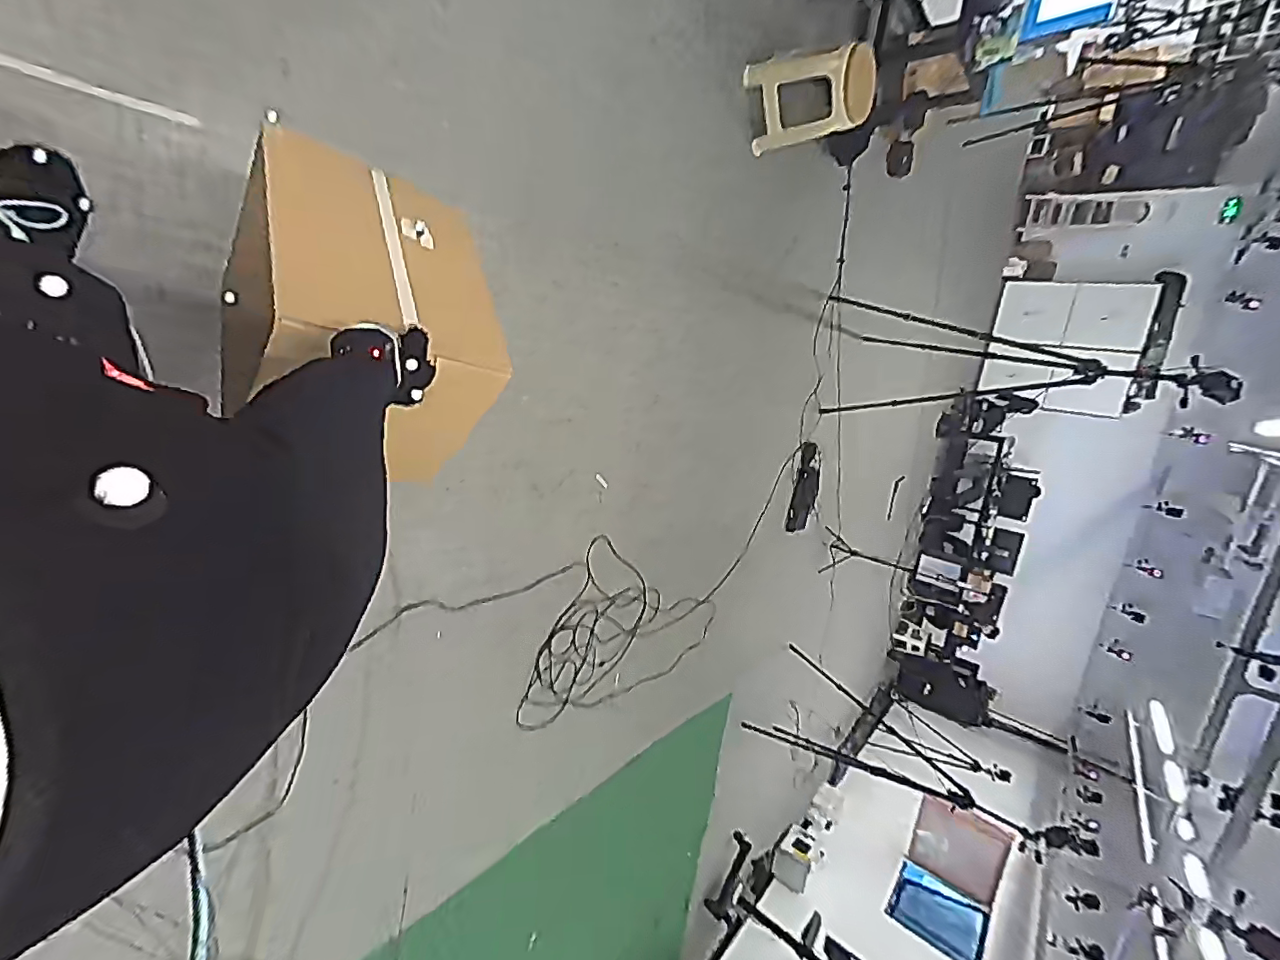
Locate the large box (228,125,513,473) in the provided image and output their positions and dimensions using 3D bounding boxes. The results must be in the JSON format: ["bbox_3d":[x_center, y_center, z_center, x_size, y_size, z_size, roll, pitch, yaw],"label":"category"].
[{"bbox_3d":[-0.462,-0.259,0.892,0.320,0.408,0.320,6,143,-46],"label":"large box"}]
